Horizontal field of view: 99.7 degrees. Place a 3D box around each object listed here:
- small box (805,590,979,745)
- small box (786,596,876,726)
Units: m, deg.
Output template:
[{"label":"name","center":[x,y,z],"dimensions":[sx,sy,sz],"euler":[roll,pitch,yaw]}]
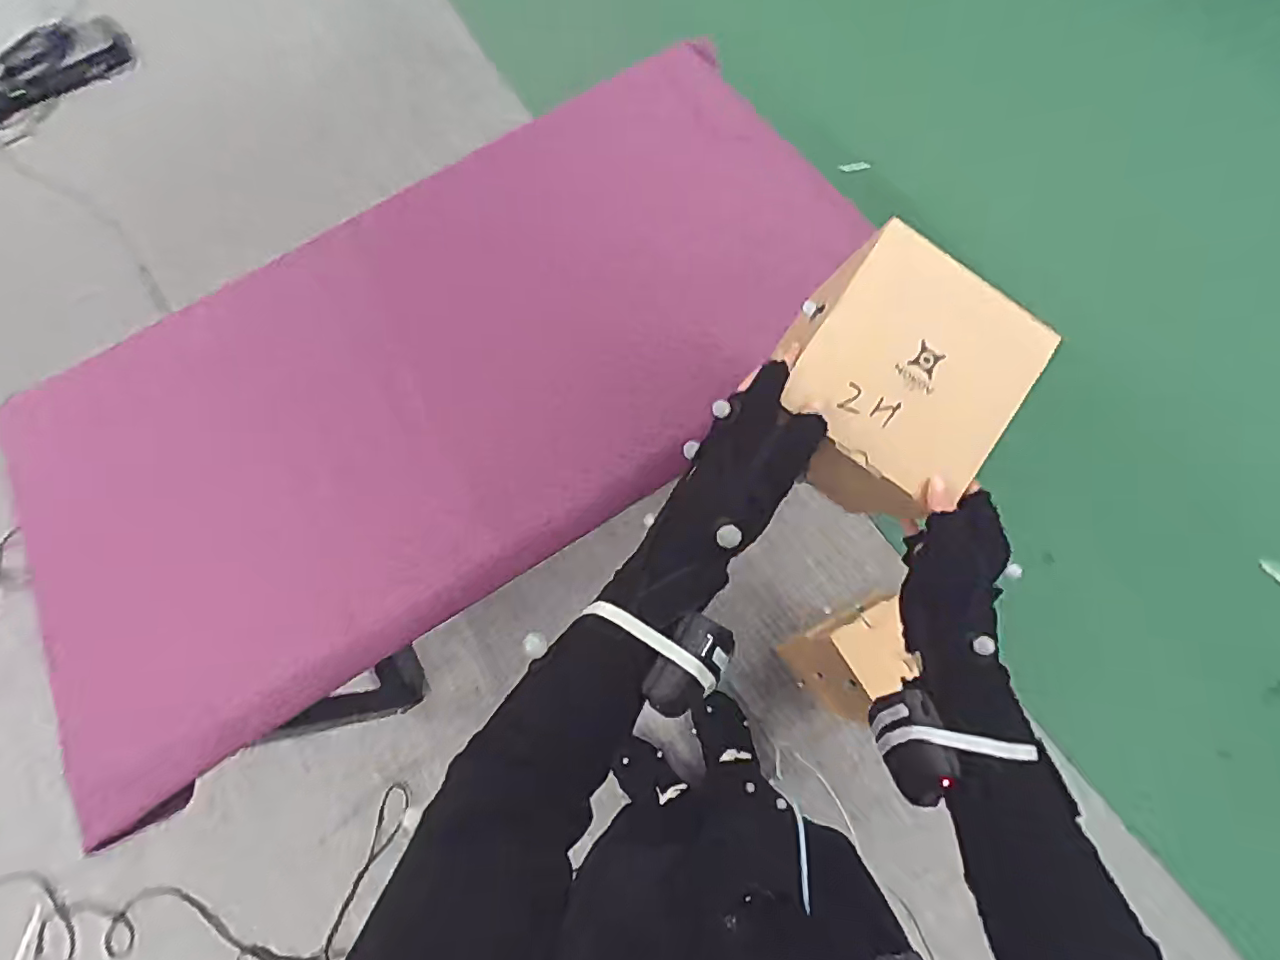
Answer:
[{"label":"small box","center":[0.401,0.302,0.895],"dimensions":[0.168,0.176,0.179],"euler":[-29,72,-4]},{"label":"small box","center":[0.408,0.346,1.051],"dimensions":[0.168,0.176,0.179],"euler":[-27,72,-4]}]
